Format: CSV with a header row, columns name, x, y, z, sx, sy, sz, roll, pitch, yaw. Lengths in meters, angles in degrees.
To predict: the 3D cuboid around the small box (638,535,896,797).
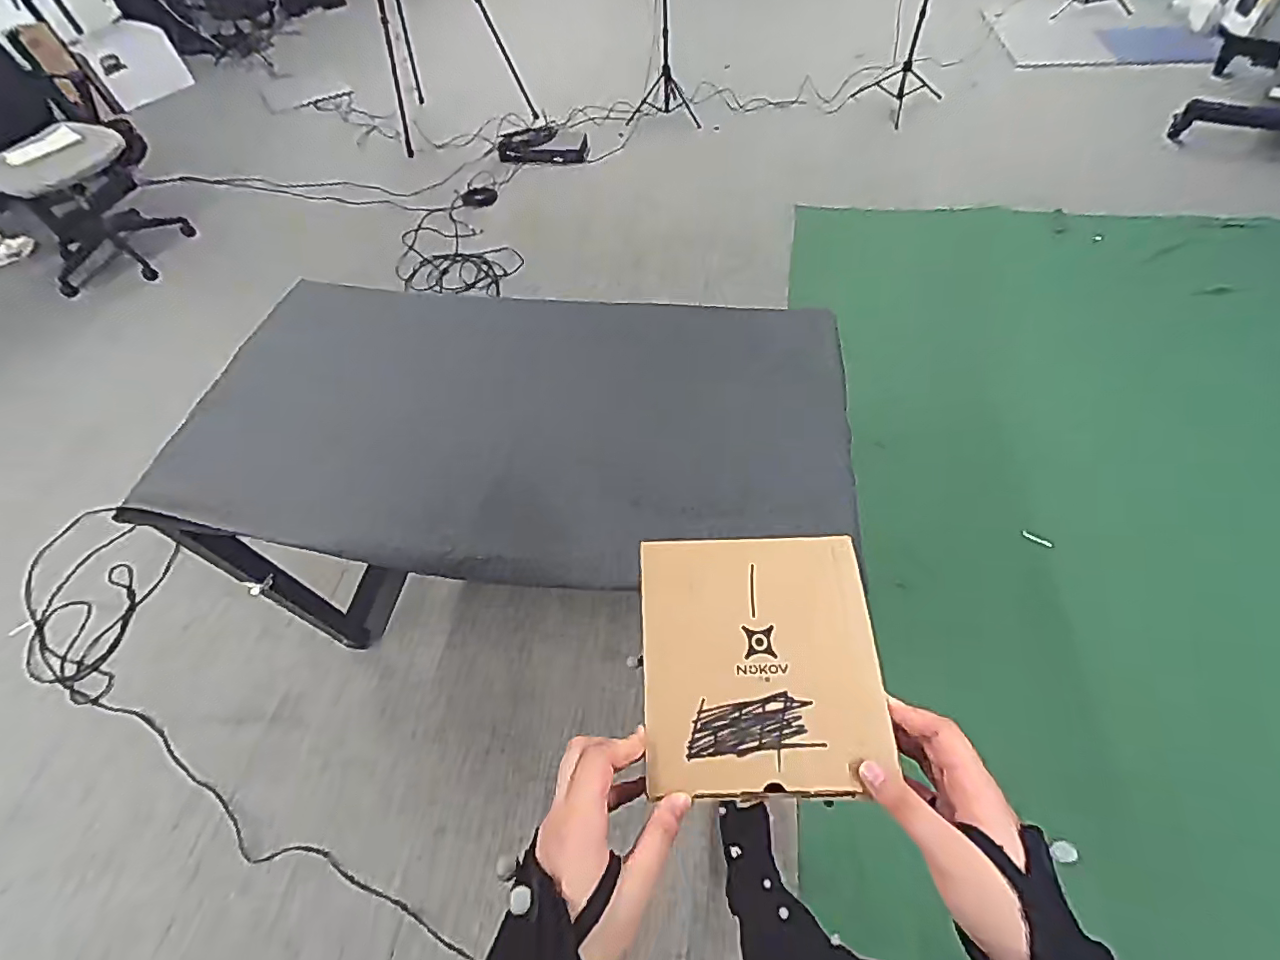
name,x,y,z,sx,sy,sz,roll,pitch,yaw
small box,0.084,0.158,0.450,0.168,0.176,0.179,-1,62,1
